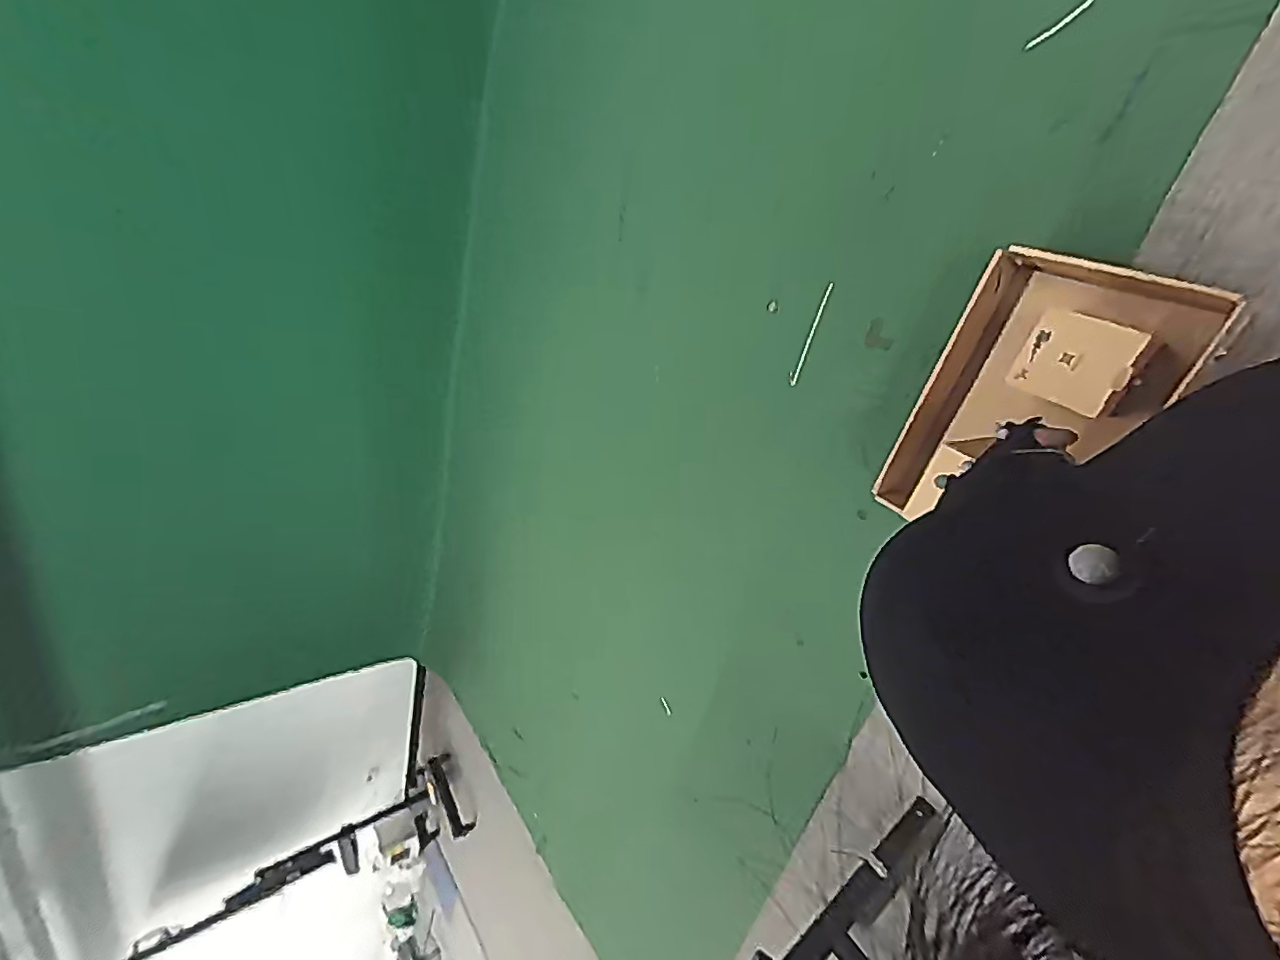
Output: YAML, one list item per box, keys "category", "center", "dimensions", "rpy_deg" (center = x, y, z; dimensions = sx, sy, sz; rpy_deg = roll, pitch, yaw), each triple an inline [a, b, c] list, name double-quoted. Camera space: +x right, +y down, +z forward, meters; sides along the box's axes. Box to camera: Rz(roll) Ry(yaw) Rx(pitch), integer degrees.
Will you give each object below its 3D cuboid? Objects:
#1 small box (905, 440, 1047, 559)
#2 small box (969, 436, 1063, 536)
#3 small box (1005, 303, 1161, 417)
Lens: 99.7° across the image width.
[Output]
- category: "small box"
  center: [0.678, 0.030, 1.087]
  dimensions: [0.168, 0.176, 0.179]
  rpy_deg: [39, 123, 38]
- category: "small box"
  center: [0.797, 0.014, 1.200]
  dimensions: [0.168, 0.176, 0.179]
  rpy_deg: [37, 120, 38]
- category: "small box"
  center: [0.881, -0.240, 1.075]
  dimensions: [0.179, 0.176, 0.168]
  rpy_deg: [39, 123, 37]
